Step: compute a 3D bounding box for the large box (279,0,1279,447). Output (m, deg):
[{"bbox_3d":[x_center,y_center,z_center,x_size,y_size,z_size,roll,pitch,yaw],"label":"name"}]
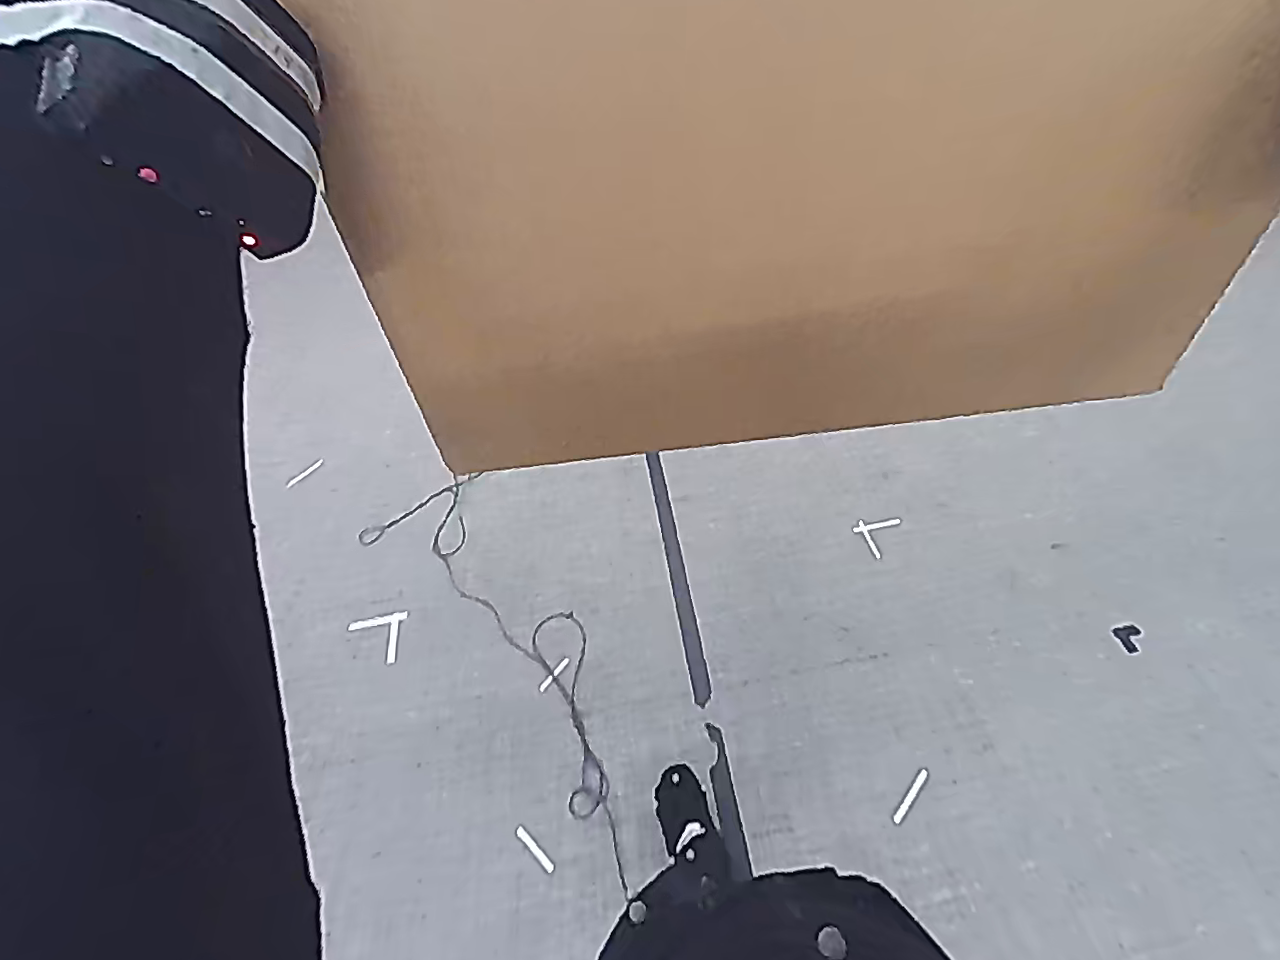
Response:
[{"bbox_3d":[0.062,-0.247,0.324,0.408,0.320,0.320,-6,43,0],"label":"large box"}]
